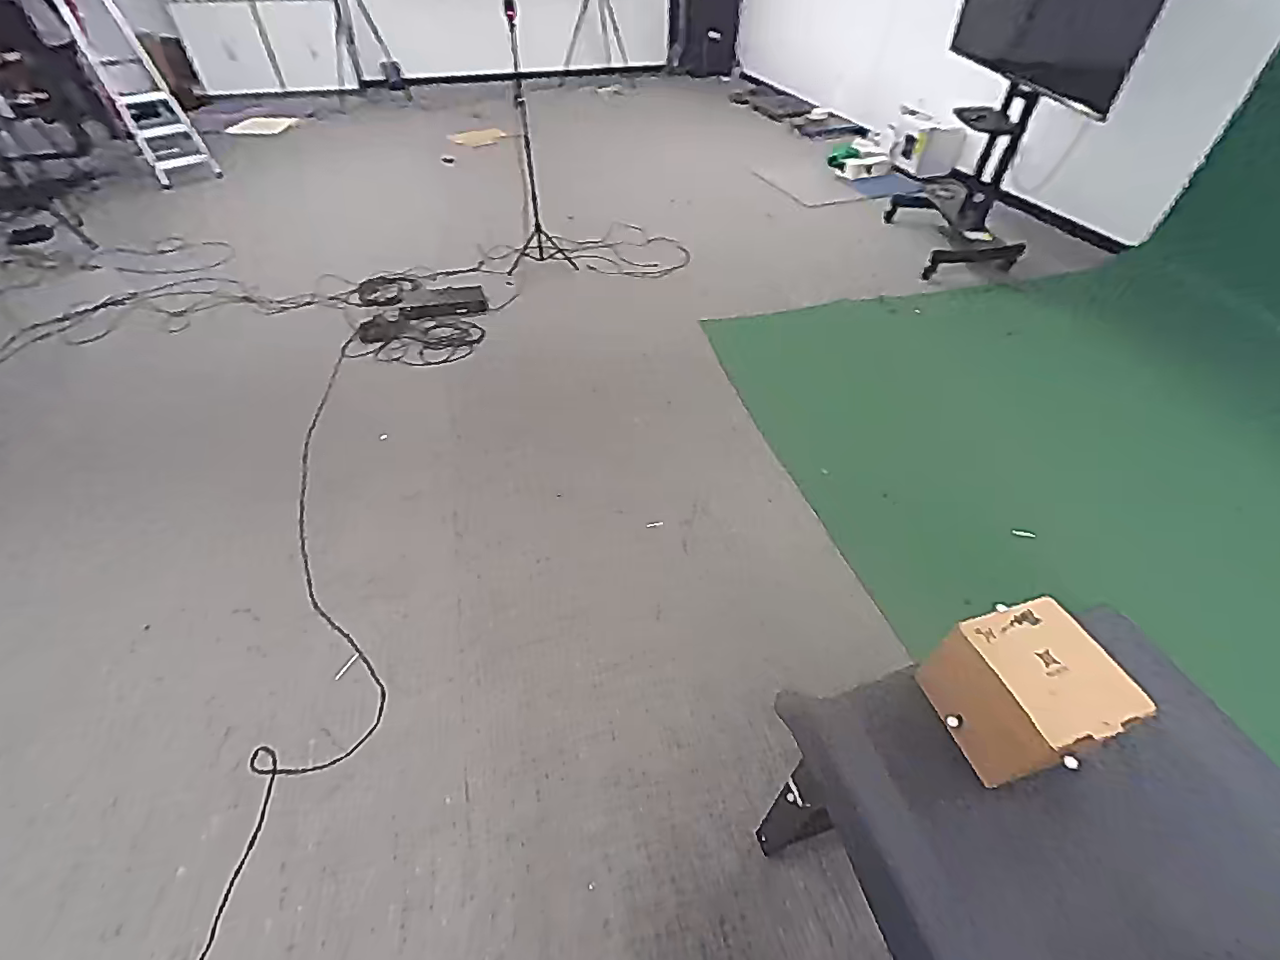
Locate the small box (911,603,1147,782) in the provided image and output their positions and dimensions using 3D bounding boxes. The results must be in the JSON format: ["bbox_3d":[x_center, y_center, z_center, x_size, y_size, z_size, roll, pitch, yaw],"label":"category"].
[{"bbox_3d":[0.533,0.308,0.772,0.168,0.176,0.179,-10,48,-13],"label":"small box"}]
